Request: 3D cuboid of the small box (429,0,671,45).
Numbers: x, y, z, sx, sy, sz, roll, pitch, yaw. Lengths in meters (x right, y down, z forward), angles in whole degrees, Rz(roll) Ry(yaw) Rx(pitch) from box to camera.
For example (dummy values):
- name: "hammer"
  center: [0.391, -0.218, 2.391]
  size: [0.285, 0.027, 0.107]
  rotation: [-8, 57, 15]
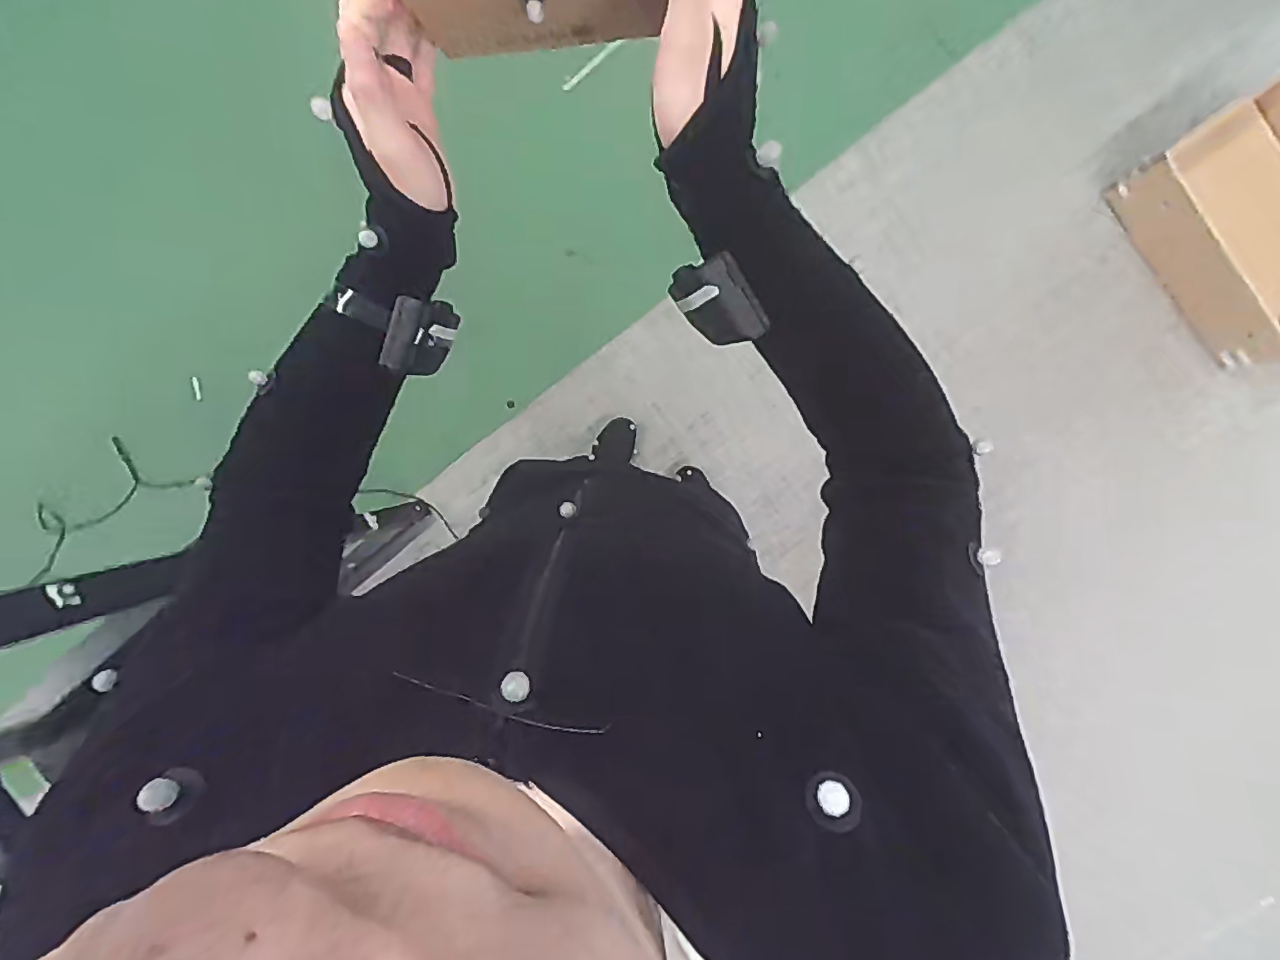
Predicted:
- name: "small box"
  center: [-0.063, -0.385, 0.311]
  size: [0.168, 0.176, 0.179]
  rotation: [-6, 109, 0]
